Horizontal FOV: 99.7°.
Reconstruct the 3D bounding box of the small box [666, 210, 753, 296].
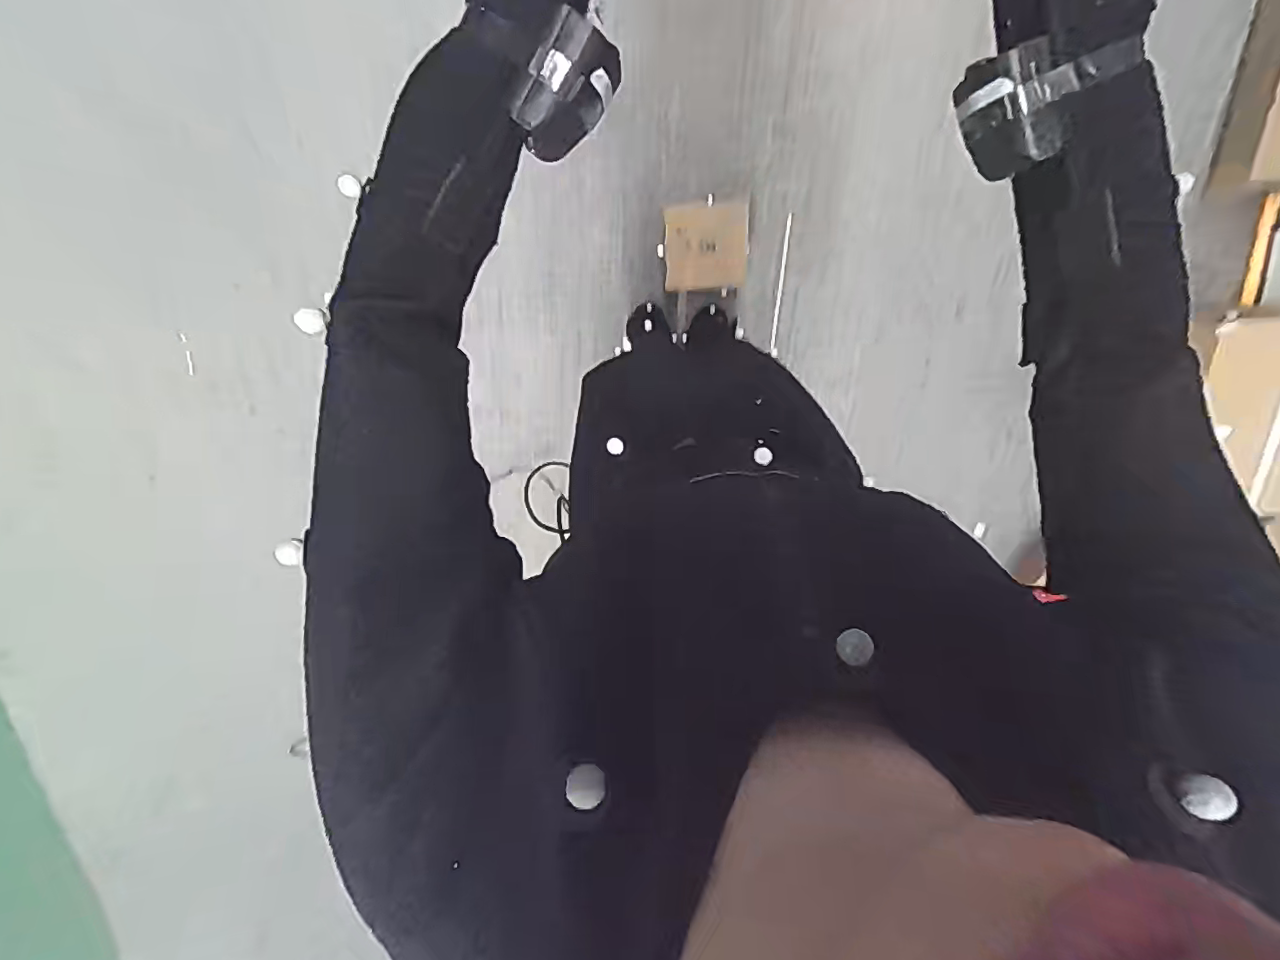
[{"bbox_3d":[0.148,-0.502,1.207,0.179,0.176,0.168,-1,109,3],"label":"small box"}]
